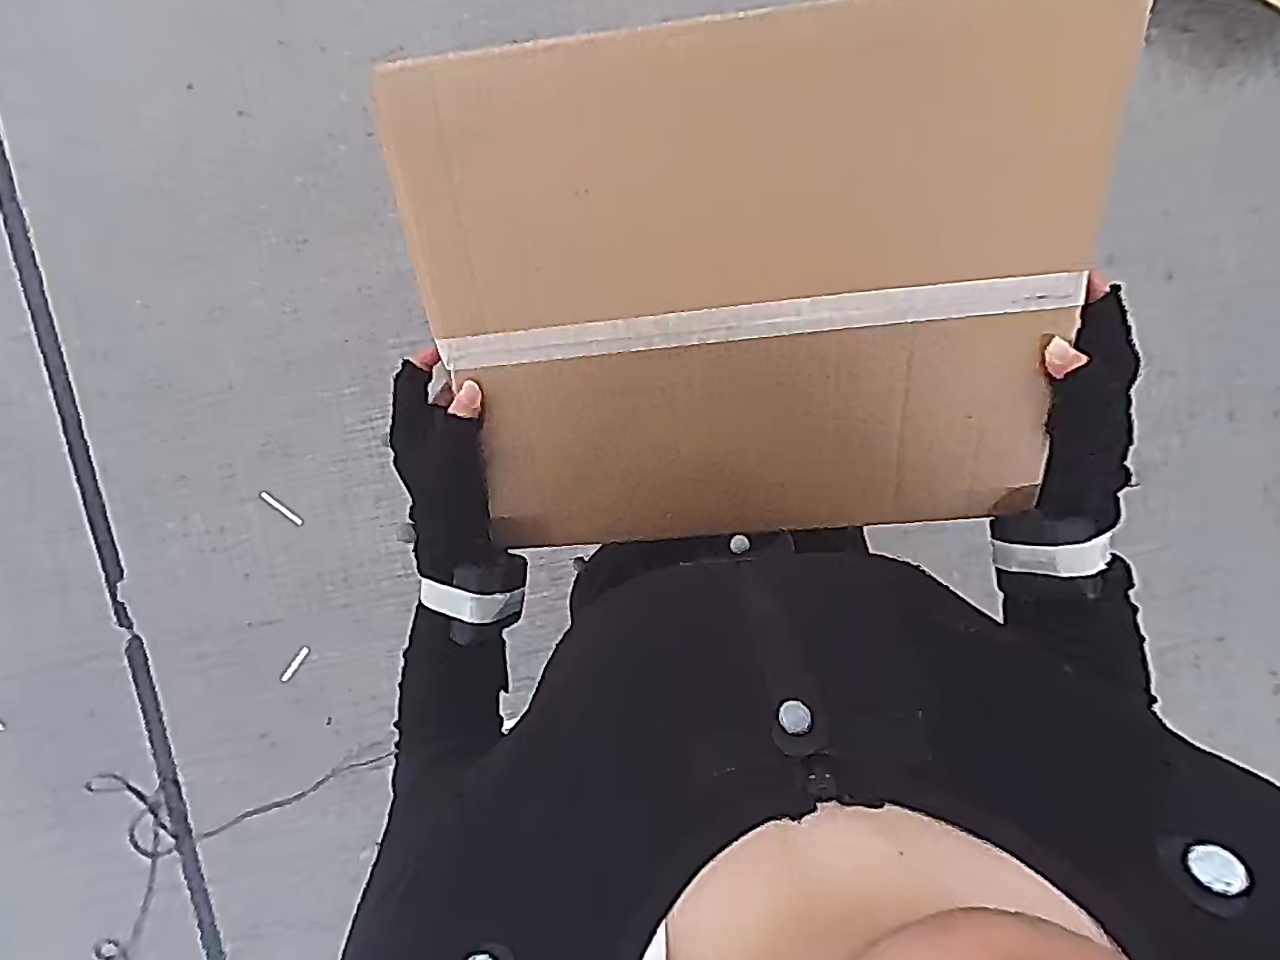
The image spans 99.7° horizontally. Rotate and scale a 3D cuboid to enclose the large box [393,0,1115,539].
[{"bbox_3d":[0.071,-0.171,0.493,0.408,0.320,0.320,-5,117,4],"label":"large box"}]
